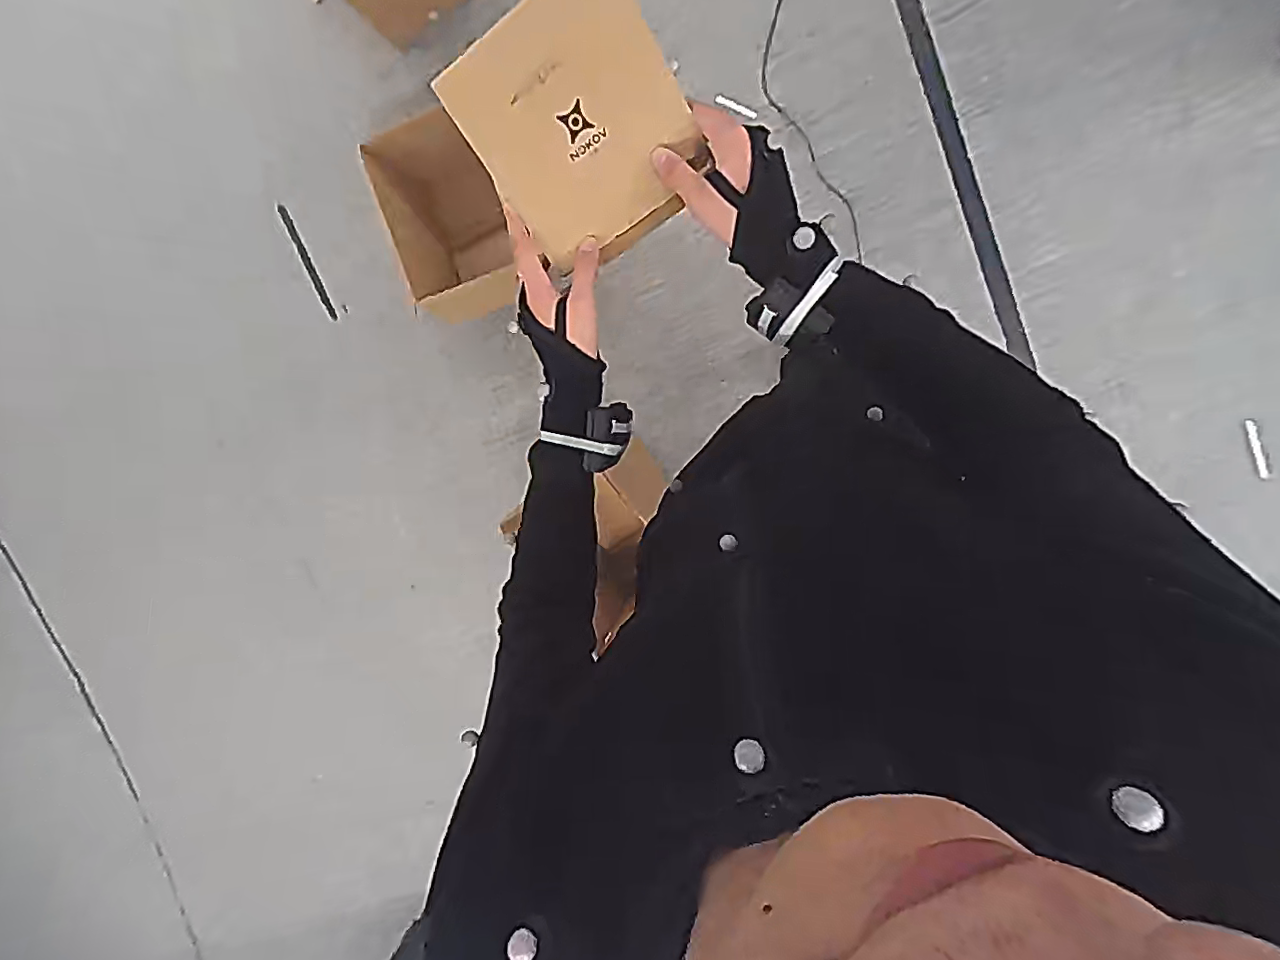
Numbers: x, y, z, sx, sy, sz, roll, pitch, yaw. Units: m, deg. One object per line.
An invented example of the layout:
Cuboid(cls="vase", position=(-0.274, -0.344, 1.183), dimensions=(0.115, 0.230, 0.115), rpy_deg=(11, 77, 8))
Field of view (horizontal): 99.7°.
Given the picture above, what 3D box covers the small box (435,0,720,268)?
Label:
Cuboid(cls="small box", position=(-0.046, -0.328, 0.499), dimensions=(0.168, 0.176, 0.179), rpy_deg=(-29, 115, 13))
